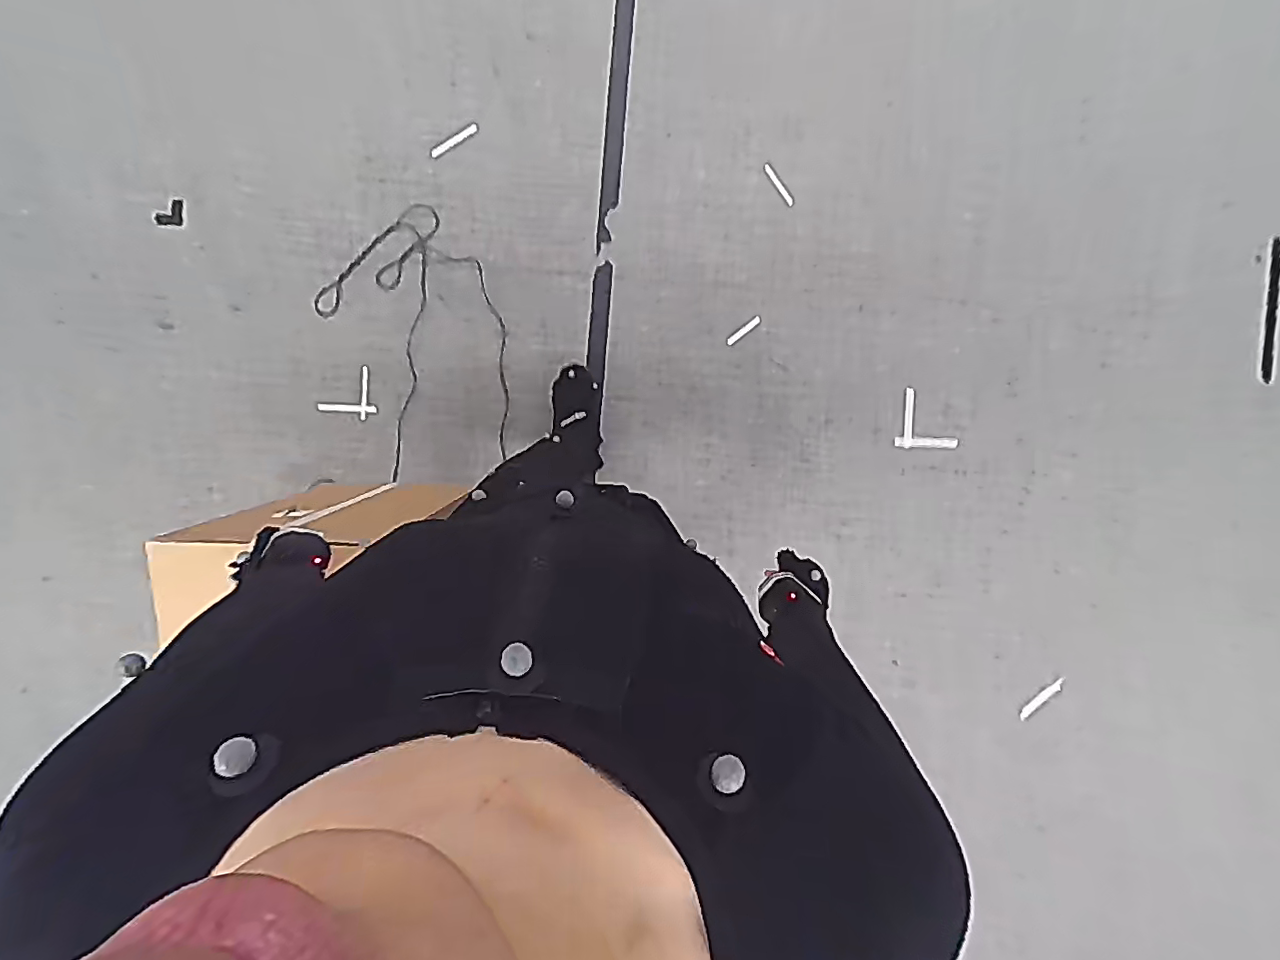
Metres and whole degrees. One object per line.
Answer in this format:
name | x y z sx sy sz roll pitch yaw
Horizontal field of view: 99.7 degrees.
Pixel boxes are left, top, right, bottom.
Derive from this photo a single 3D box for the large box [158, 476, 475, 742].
large box | -0.498 0.186 0.941 0.320 0.408 0.320 1 101 1
